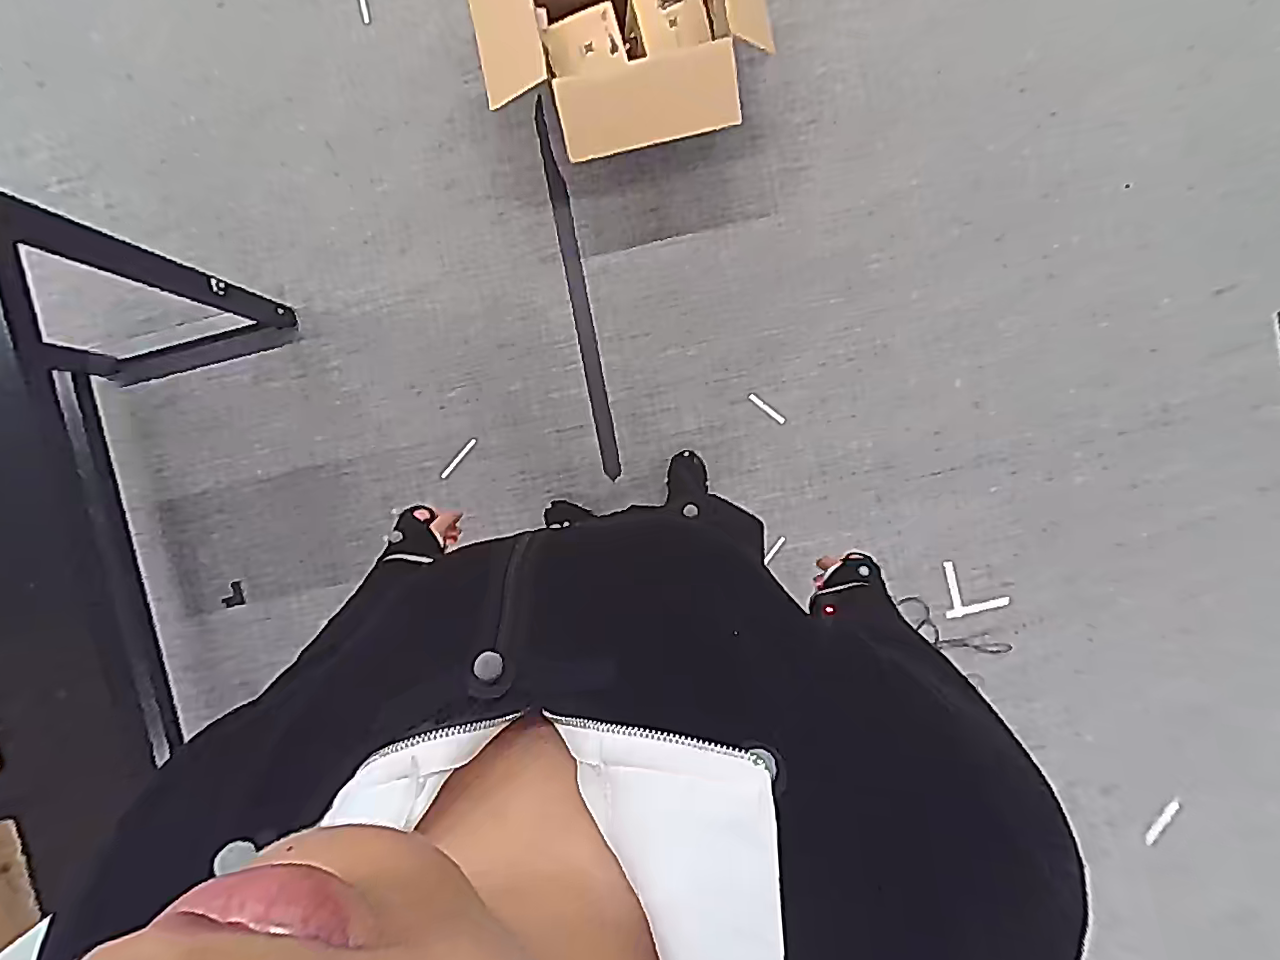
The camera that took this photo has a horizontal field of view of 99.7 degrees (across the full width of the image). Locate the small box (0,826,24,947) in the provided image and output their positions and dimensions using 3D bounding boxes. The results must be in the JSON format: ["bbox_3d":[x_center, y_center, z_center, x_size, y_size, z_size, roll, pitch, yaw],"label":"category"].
[{"bbox_3d":[-0.998,0.601,0.724,0.179,0.176,0.168,-13,90,3],"label":"small box"}]
